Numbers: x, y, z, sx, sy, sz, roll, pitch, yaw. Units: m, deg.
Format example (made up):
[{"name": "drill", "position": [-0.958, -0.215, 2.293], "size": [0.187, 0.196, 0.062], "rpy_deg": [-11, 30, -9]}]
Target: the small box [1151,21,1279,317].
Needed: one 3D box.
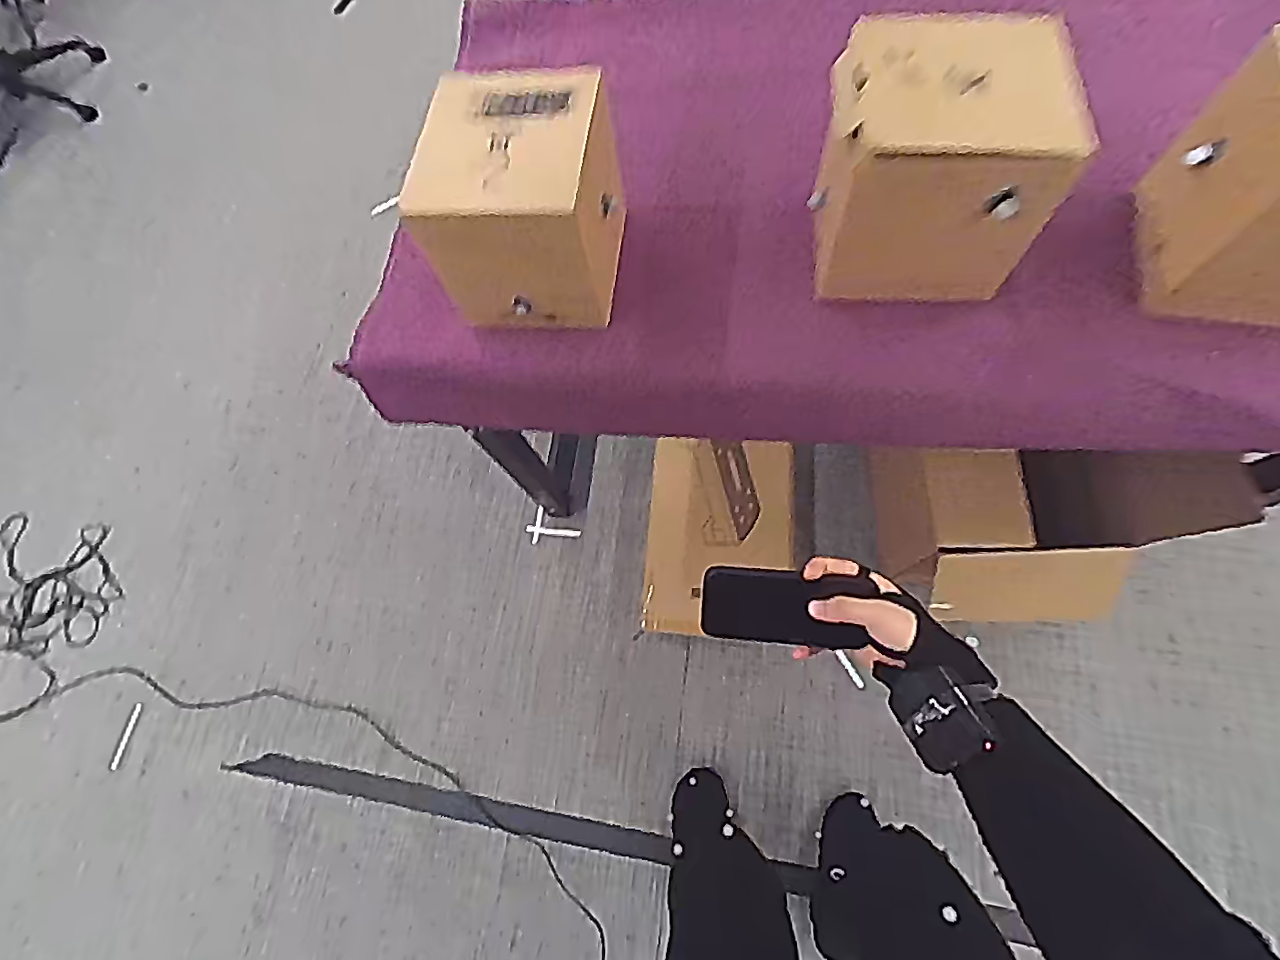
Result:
[{"name": "small box", "position": [0.591, -0.258, 0.464], "size": [0.179, 0.176, 0.168], "rpy_deg": [10, 72, 10]}]

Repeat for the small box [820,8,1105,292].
[{"name": "small box", "position": [0.279, -0.299, 0.516], "size": [0.179, 0.176, 0.168], "rpy_deg": [3, 68, 8]}]
